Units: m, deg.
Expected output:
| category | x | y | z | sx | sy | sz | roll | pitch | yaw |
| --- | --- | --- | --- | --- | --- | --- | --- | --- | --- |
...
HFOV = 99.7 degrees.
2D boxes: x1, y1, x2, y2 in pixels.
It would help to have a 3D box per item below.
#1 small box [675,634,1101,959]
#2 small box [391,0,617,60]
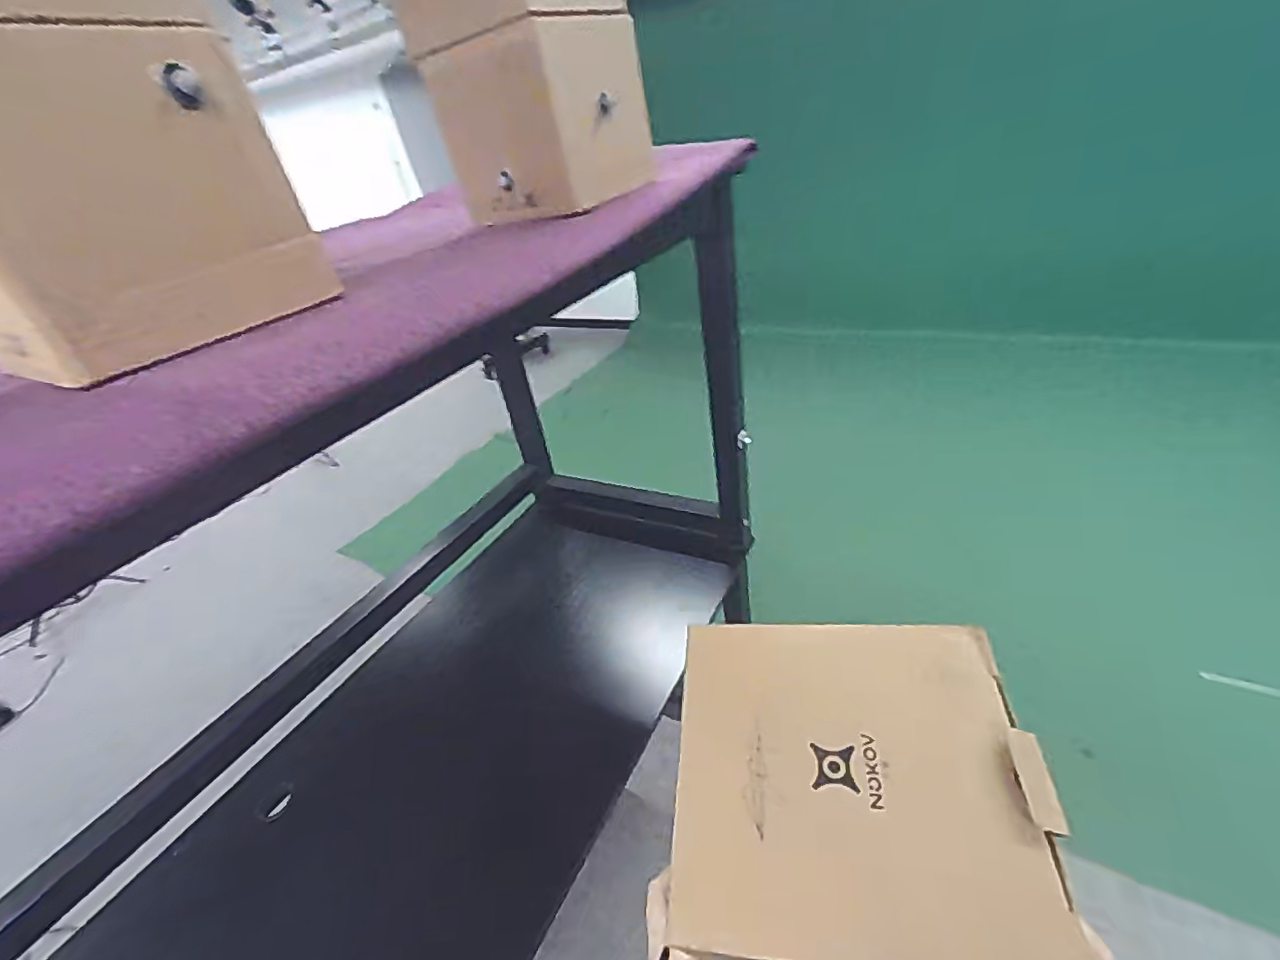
| category | x | y | z | sx | sy | sz | roll | pitch | yaw |
| --- | --- | --- | --- | --- | --- | --- | --- | --- | --- |
| small box | 0.129 | 0.211 | 0.334 | 0.179 | 0.176 | 0.168 | -5 | 44 | 16 |
| small box | -0.143 | -0.535 | 0.522 | 0.179 | 0.176 | 0.168 | 10 | 40 | 31 |
